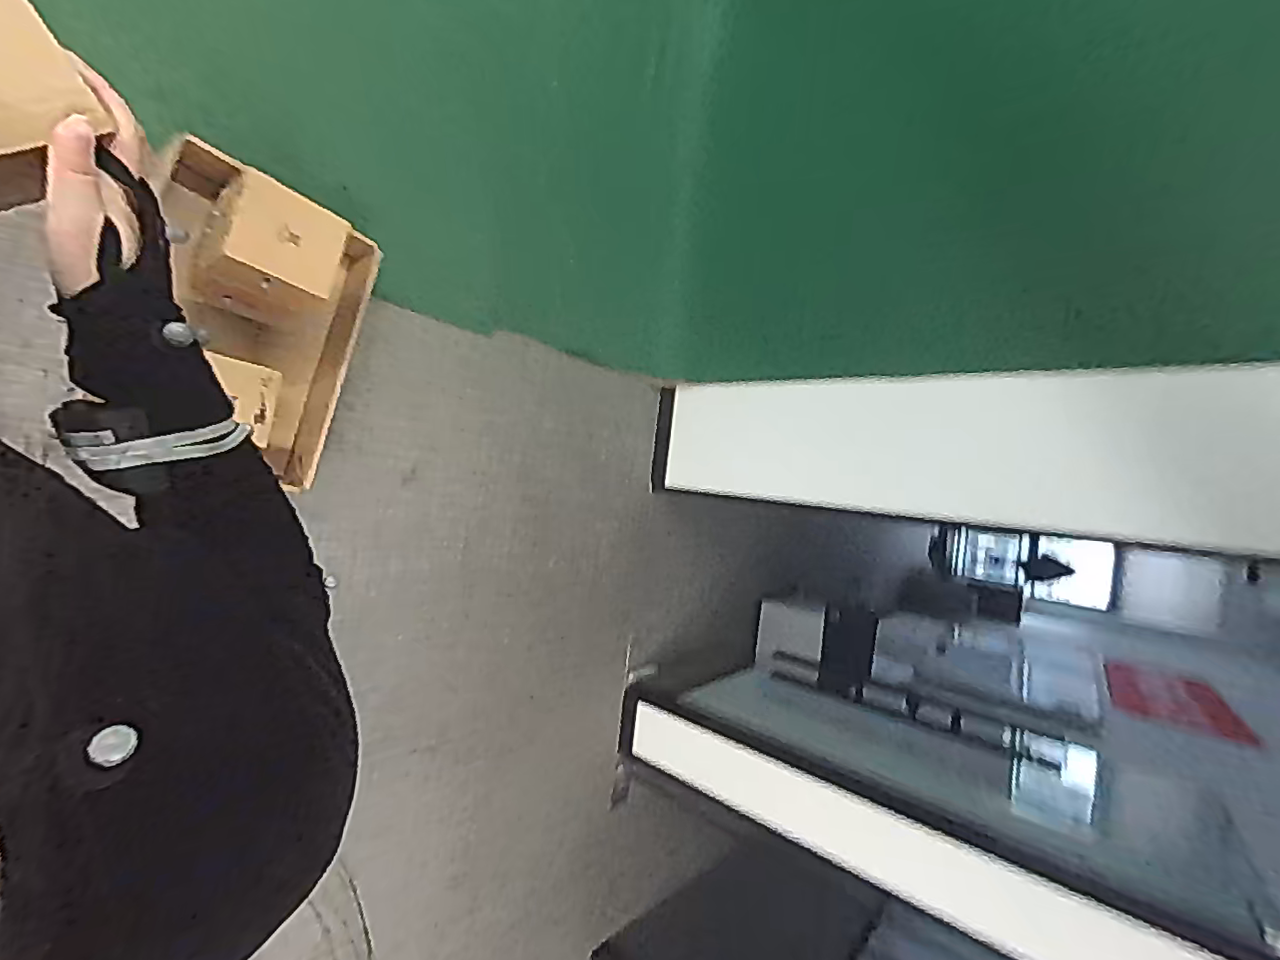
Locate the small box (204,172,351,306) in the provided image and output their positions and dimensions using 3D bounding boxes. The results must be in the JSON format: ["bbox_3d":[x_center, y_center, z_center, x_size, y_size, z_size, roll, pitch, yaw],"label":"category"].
[{"bbox_3d":[-0.705,-0.454,1.052,0.179,0.176,0.168,20,80,-48],"label":"small box"}]

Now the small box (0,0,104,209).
[{"bbox_3d":[-0.435,-0.226,0.274,0.179,0.176,0.168,-44,129,-31],"label":"small box"}]
